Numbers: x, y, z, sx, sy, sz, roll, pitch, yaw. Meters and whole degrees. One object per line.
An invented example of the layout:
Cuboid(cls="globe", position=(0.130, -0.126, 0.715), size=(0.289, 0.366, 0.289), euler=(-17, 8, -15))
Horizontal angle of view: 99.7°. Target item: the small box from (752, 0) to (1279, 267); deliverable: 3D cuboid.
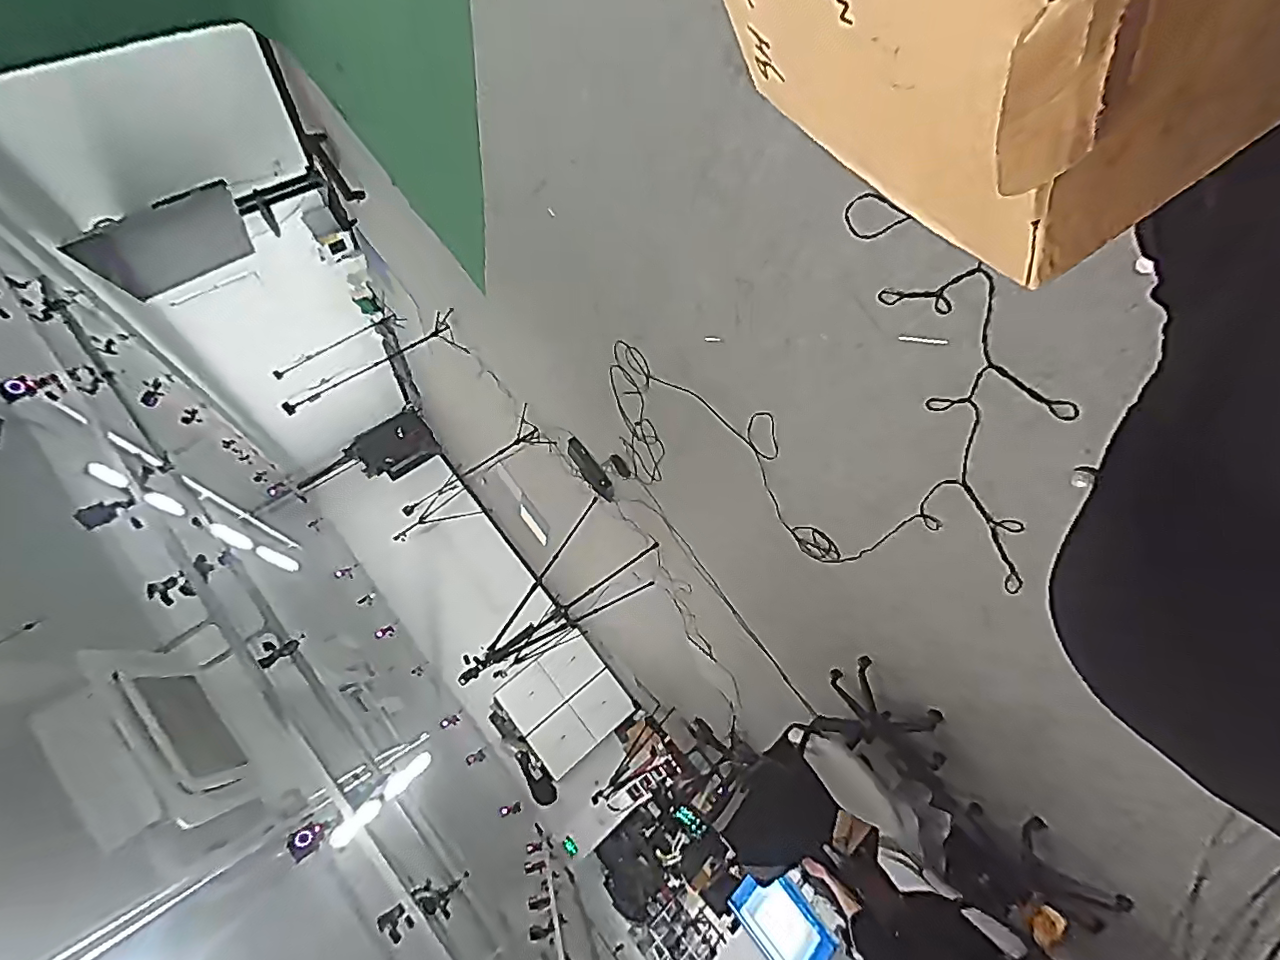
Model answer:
Cuboid(cls="small box", position=(0.124, -0.203, 0.135), size=(0.168, 0.176, 0.179), euler=(31, -152, -56))
